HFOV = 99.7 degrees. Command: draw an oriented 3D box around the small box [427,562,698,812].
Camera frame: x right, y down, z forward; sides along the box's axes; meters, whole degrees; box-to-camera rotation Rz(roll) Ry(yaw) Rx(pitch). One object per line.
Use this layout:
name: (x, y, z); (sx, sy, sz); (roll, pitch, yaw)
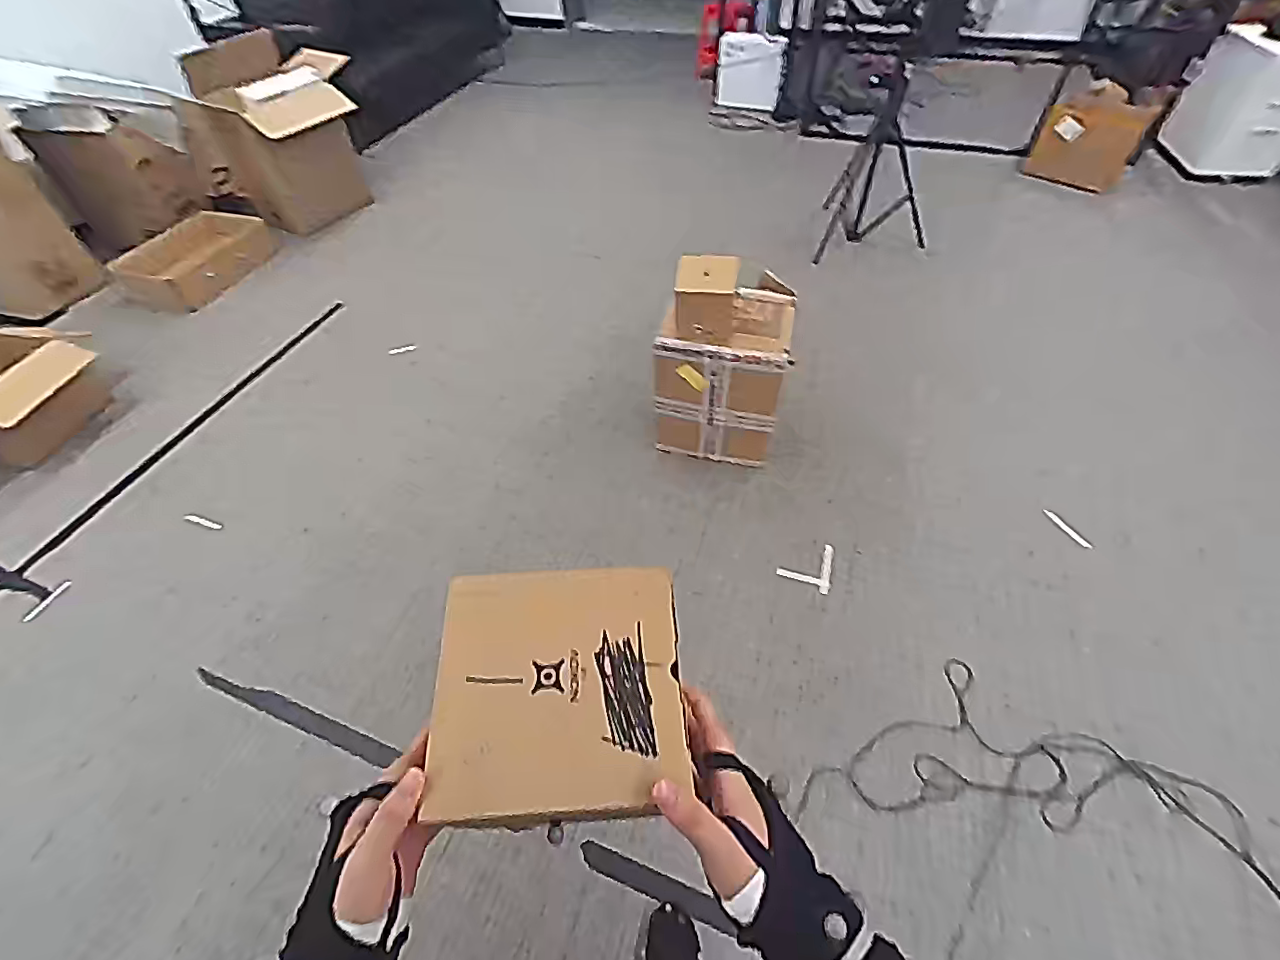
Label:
small box: (-0.054, 0.179, 0.455); (0.179, 0.176, 0.168); (-2, 57, -3)

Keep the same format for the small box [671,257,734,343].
small box: (0.183, -0.527, 1.582); (0.168, 0.176, 0.179); (4, 56, 8)
